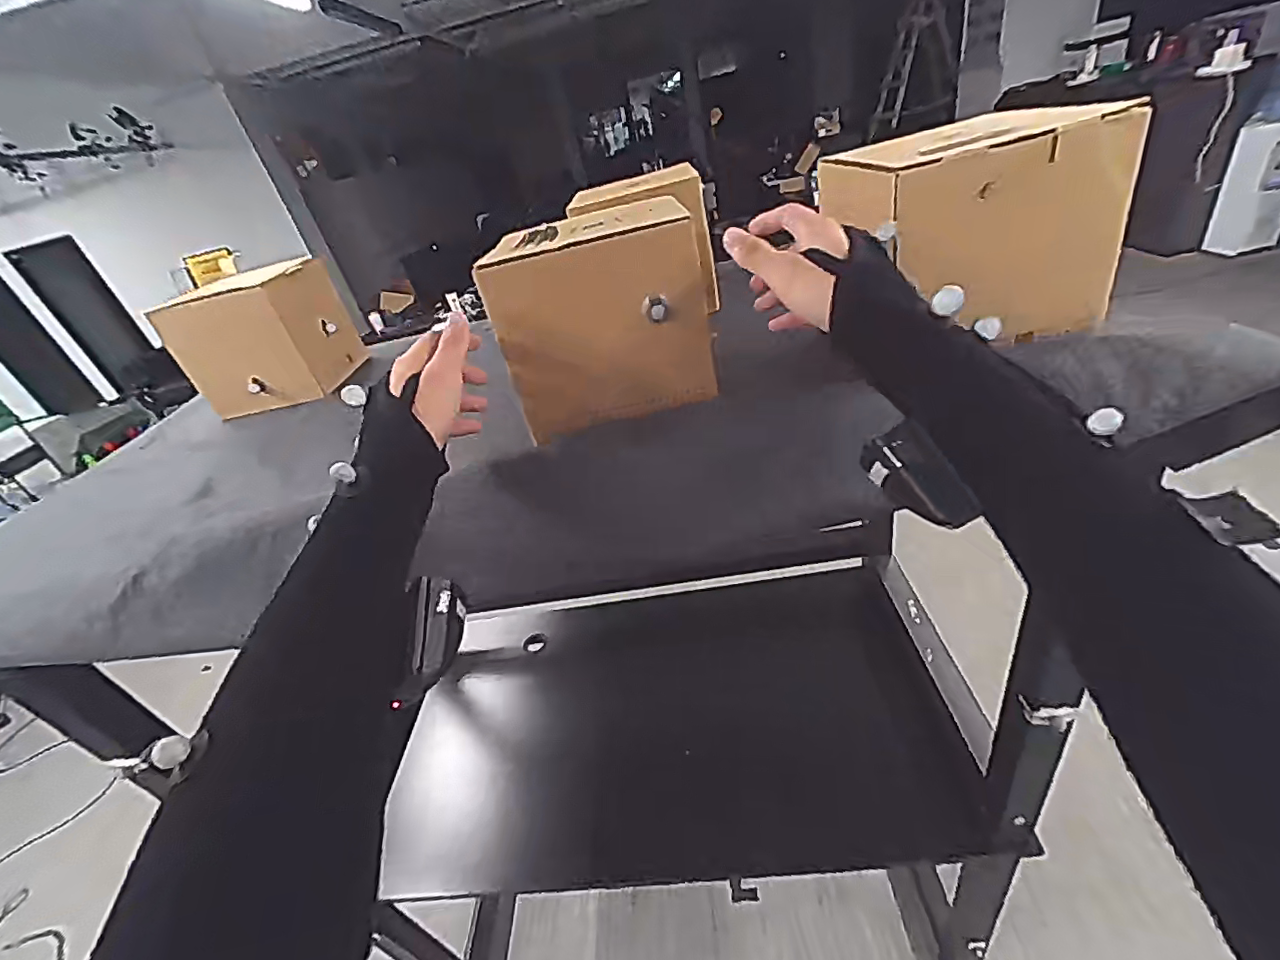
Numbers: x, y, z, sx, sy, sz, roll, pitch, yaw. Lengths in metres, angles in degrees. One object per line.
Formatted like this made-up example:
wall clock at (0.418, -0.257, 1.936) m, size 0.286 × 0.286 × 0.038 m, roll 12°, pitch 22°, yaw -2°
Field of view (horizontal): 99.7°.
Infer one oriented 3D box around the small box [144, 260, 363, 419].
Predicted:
small box at (-0.557, -0.211, 0.815) m, size 0.179 × 0.176 × 0.168 m, roll -10°, pitch 33°, yaw 5°

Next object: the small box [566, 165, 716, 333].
small box at (0.007, -0.318, 0.754) m, size 0.168 × 0.176 × 0.179 m, roll -11°, pitch 33°, yaw 7°

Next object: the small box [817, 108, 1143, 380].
small box at (0.265, -0.199, 0.470) m, size 0.168 × 0.176 × 0.179 m, roll -12°, pitch 32°, yaw 5°
